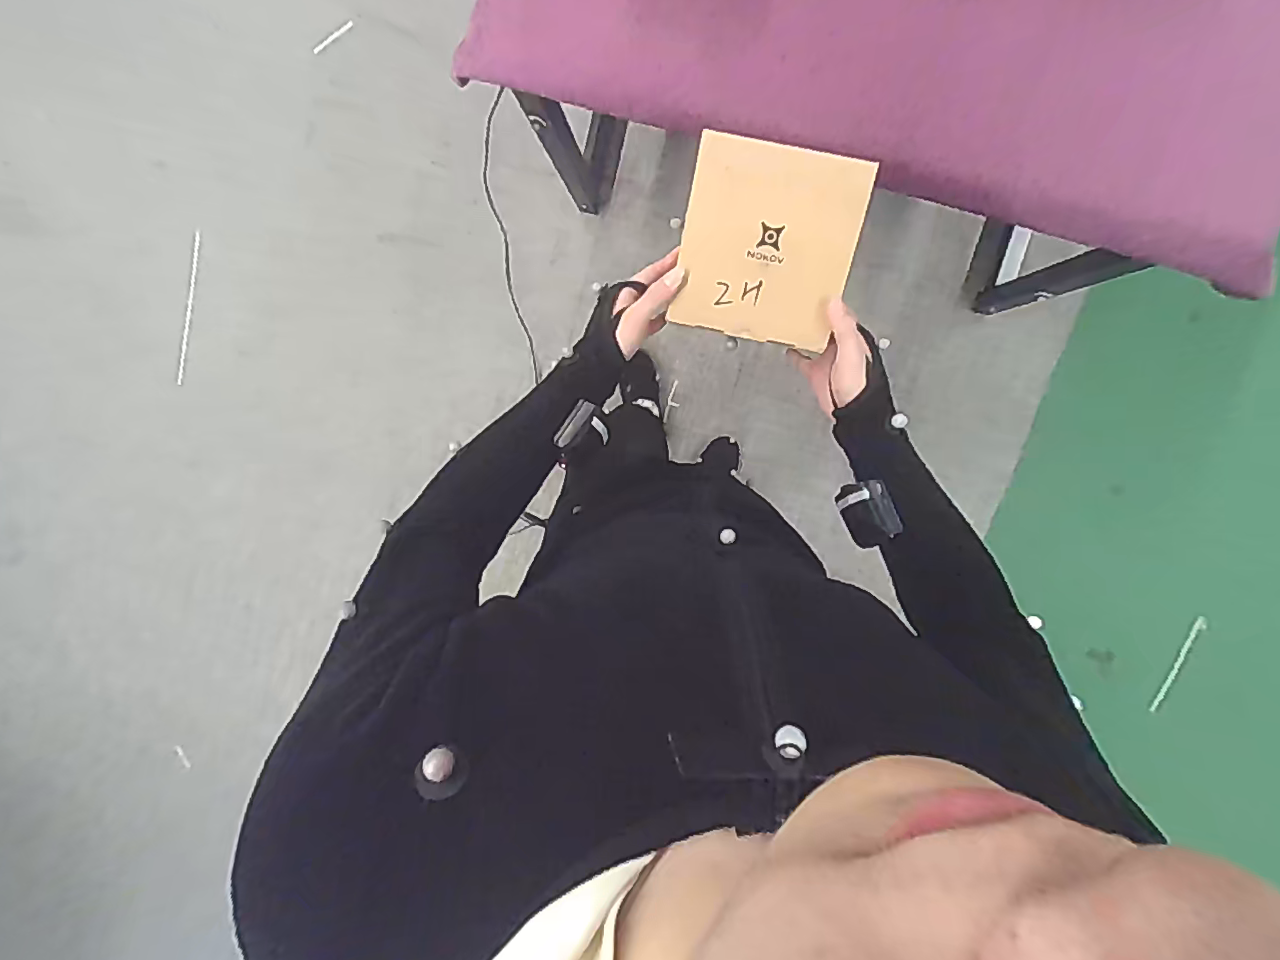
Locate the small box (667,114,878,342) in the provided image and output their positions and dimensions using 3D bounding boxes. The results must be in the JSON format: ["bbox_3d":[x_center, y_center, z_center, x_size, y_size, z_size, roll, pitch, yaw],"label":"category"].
[{"bbox_3d":[0.127,-0.258,0.593,0.168,0.176,0.179,13,107,1],"label":"small box"}]
